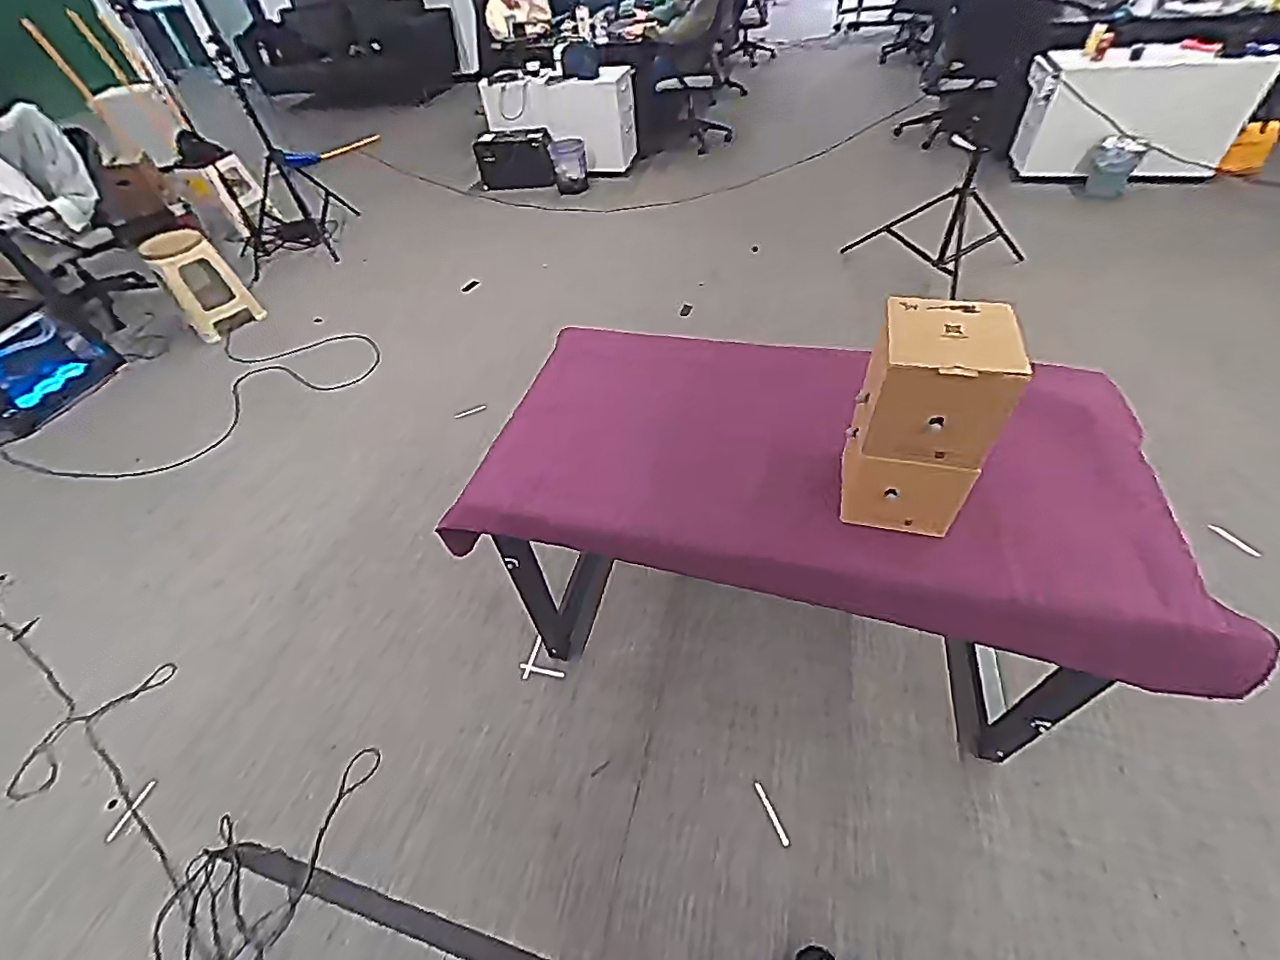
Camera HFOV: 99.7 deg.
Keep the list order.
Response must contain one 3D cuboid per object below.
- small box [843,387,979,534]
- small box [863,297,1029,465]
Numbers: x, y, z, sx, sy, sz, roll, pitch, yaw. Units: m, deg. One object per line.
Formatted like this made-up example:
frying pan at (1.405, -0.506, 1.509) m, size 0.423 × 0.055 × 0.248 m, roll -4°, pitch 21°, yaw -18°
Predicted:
small box at (0.444, -0.031, 0.910) m, size 0.168 × 0.176 × 0.179 m, roll 8°, pitch 49°, yaw 14°
small box at (0.432, -0.144, 0.792) m, size 0.168 × 0.176 × 0.179 m, roll 9°, pitch 50°, yaw 15°
